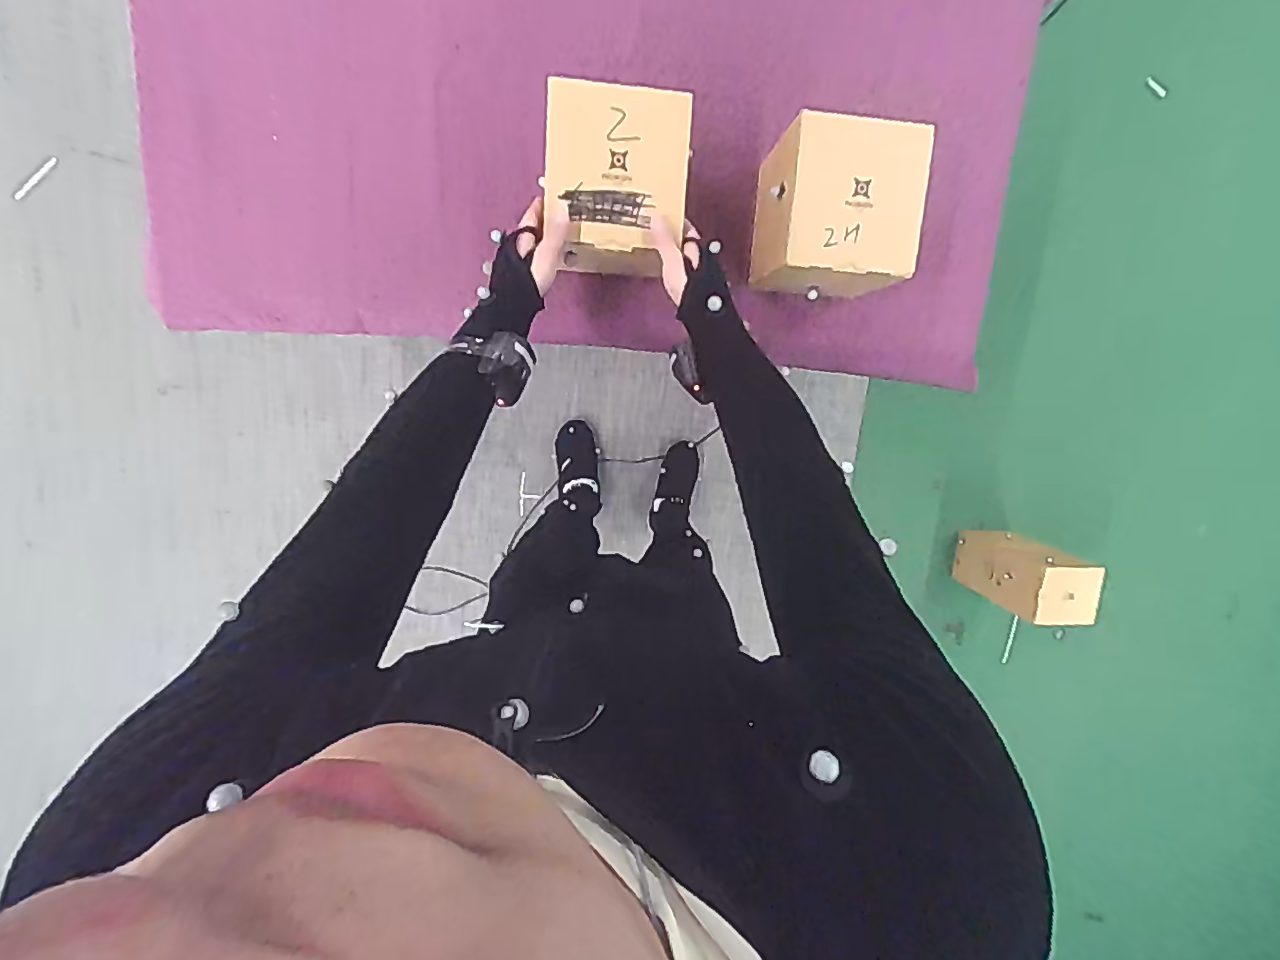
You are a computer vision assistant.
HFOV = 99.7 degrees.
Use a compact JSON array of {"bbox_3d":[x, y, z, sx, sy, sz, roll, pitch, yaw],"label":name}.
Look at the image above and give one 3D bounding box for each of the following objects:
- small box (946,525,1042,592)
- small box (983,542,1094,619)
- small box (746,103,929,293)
[{"bbox_3d":[1.092,0.242,1.684,0.179,0.176,0.168,2,102,-7],"label":"small box"},{"bbox_3d":[1.116,0.278,1.527,0.179,0.176,0.168,1,102,-5],"label":"small box"},{"bbox_3d":[0.250,-0.362,0.727,0.168,0.176,0.179,4,101,-6],"label":"small box"}]
